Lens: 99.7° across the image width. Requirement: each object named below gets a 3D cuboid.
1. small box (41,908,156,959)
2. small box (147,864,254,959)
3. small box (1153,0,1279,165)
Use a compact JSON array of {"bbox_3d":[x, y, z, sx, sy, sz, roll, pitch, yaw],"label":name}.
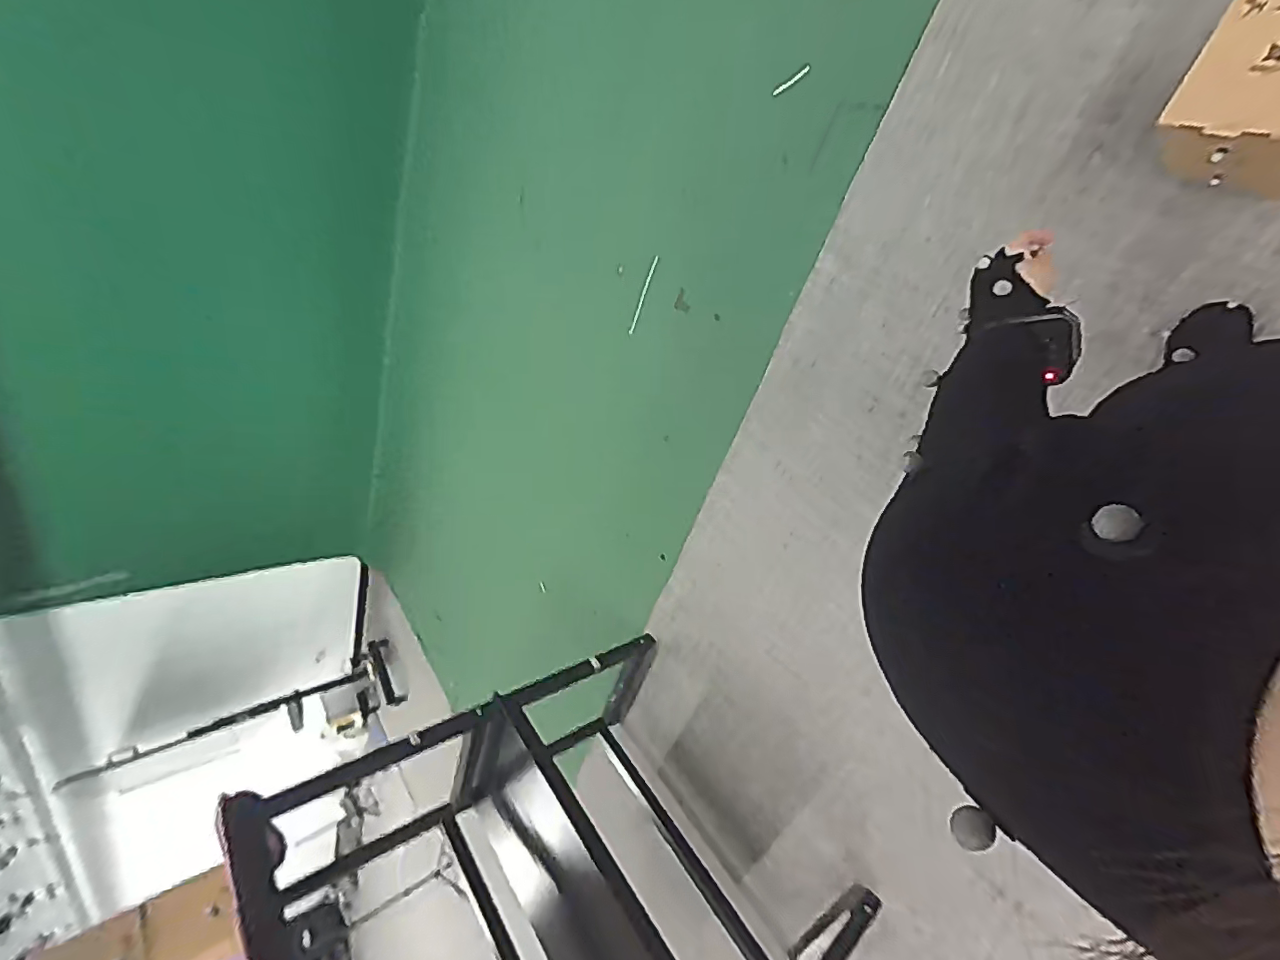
[{"bbox_3d":[-1.115,1.044,1.123,0.168,0.176,0.179,53,129,24],"label":"small box"},{"bbox_3d":[-1.001,1.031,1.238,0.168,0.176,0.179,51,128,27],"label":"small box"},{"bbox_3d":[0.931,-0.597,0.809,0.168,0.176,0.179,40,124,35],"label":"small box"}]
